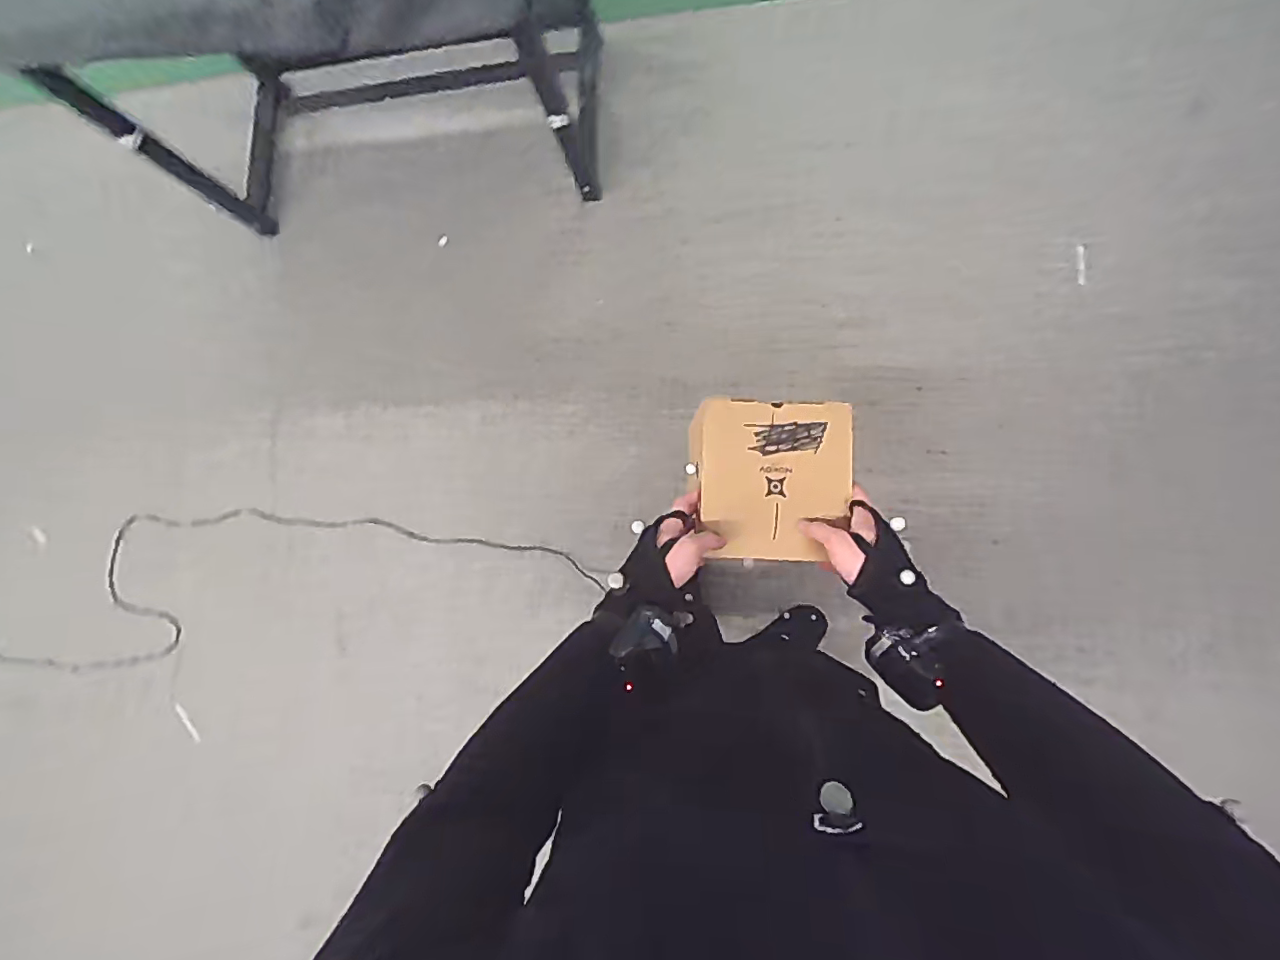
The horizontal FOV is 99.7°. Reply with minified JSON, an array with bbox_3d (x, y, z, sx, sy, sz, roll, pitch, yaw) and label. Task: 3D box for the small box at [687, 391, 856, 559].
[{"bbox_3d":[0.146,0.002,0.652,0.168,0.176,0.179,2,84,0],"label":"small box"}]
